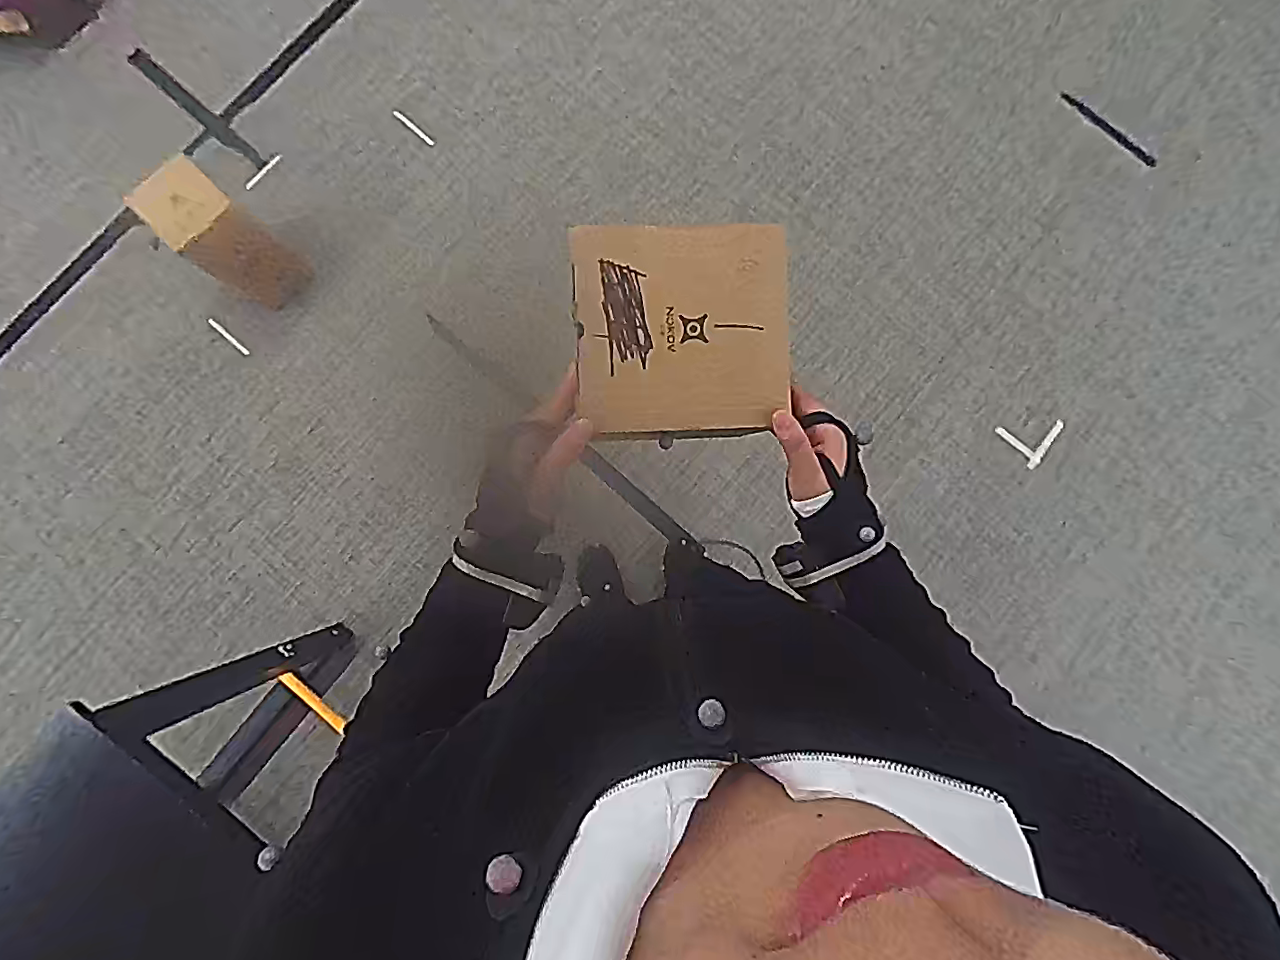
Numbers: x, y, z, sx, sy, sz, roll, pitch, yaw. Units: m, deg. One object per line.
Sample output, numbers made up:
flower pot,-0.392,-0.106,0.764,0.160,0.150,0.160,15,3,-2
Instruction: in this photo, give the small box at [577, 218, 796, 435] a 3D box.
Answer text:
small box,0.034,-0.129,0.513,0.179,0.176,0.168,-2,93,-5

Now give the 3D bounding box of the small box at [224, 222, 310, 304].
small box,-1.038,-0.596,1.444,0.179,0.176,0.168,39,85,0

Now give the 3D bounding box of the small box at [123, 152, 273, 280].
small box,-1.032,-0.612,1.279,0.179,0.176,0.168,45,86,1
